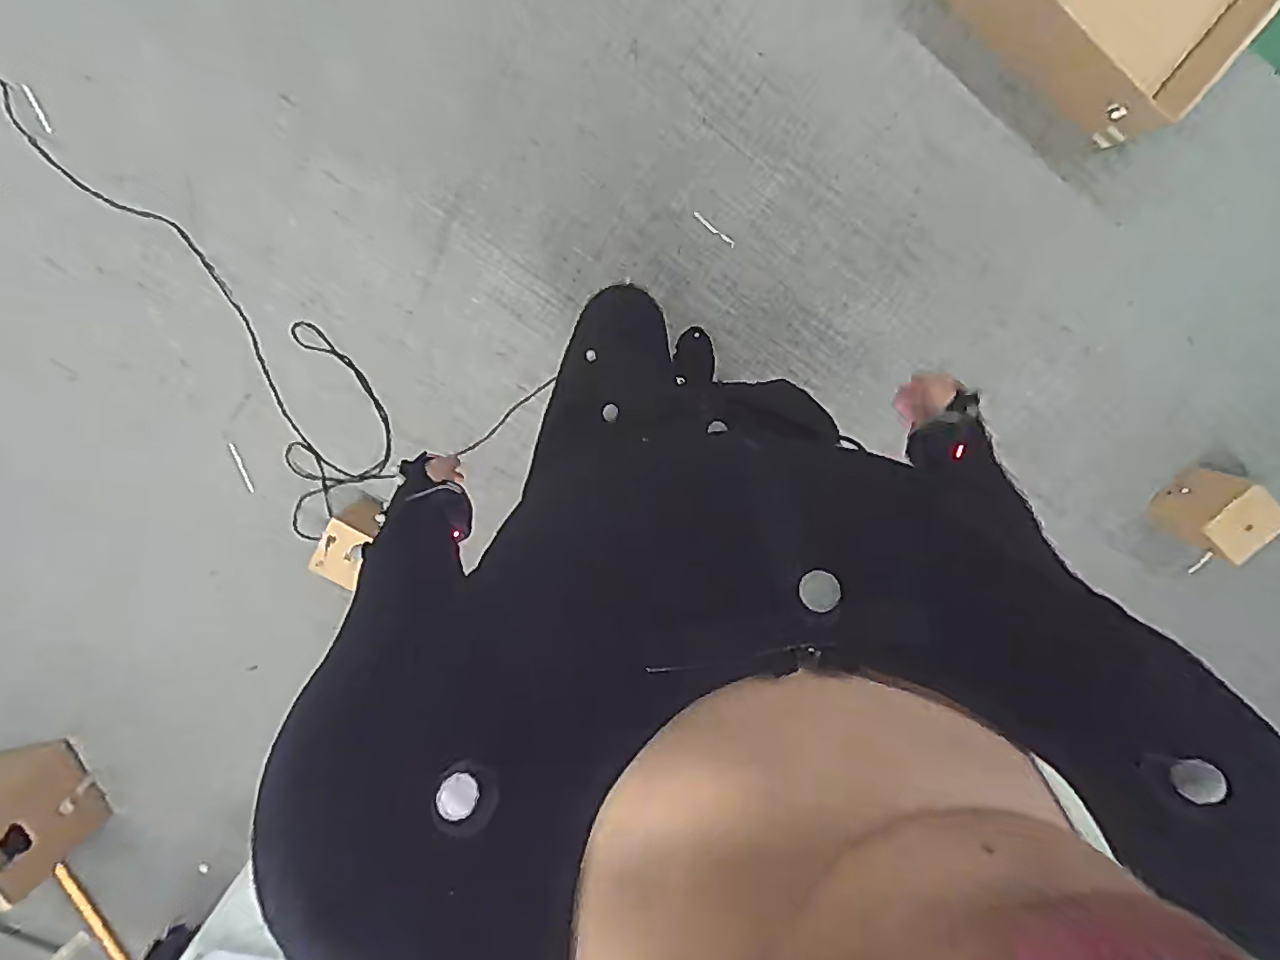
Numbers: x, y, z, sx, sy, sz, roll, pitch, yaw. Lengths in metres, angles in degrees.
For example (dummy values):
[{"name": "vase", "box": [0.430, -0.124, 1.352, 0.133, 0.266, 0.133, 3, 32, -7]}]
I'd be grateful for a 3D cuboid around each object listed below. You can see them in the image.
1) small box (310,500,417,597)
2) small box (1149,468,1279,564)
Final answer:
[{"name": "small box", "box": [-0.733, 0.176, 1.456, 0.179, 0.176, 0.168, 30, 104, -11]}, {"name": "small box", "box": [1.574, 0.090, 1.478, 0.179, 0.176, 0.168, 38, 102, -12]}]
